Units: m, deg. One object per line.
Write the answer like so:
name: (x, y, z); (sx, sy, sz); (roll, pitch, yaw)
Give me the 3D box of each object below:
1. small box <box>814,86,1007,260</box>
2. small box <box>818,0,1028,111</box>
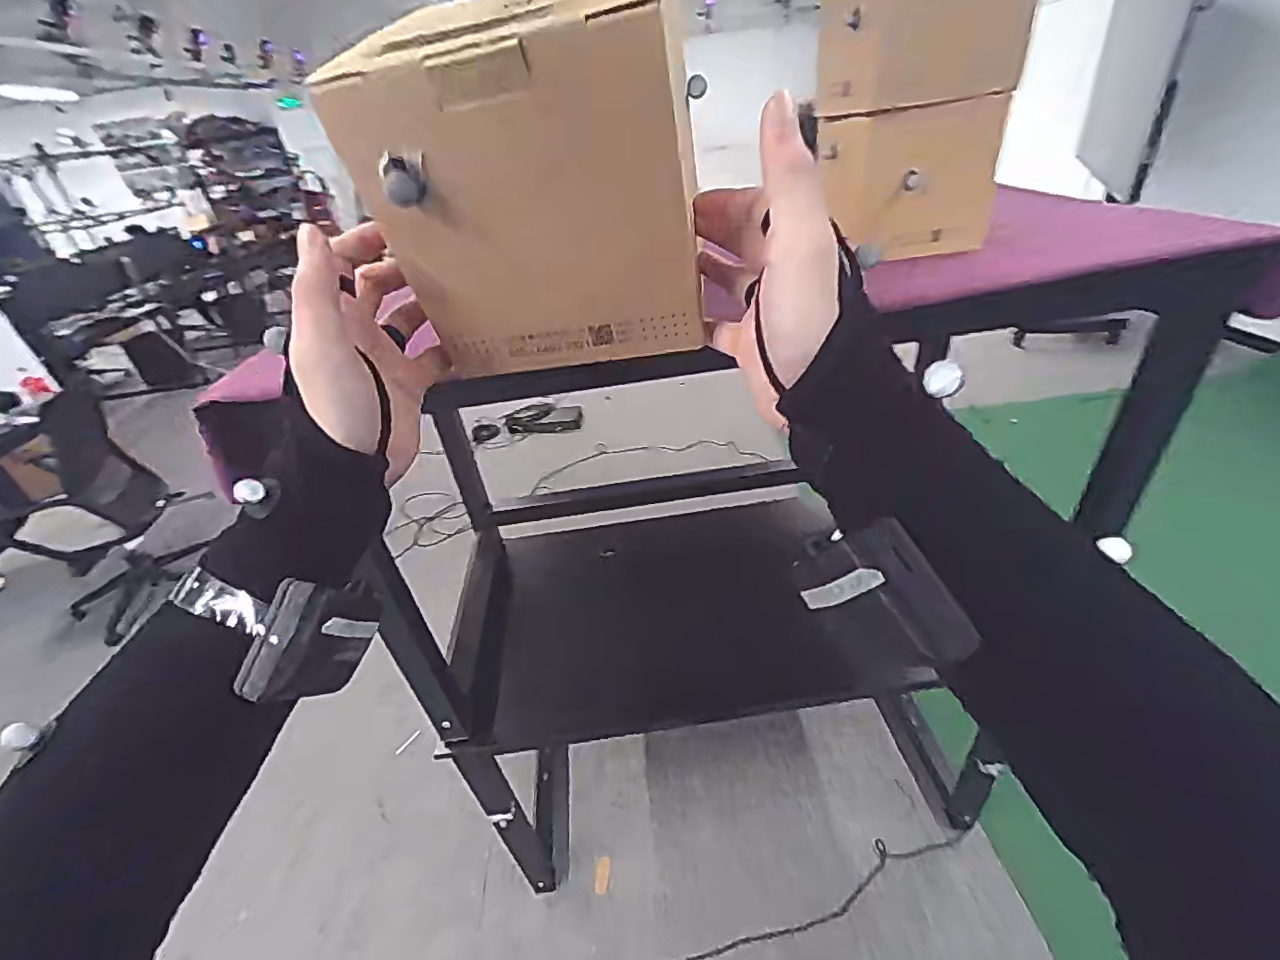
small box: (0.335, -0.397, 0.711); (0.168, 0.176, 0.179); (-7, 33, 3)
small box: (0.312, -0.527, 0.614); (0.179, 0.176, 0.168); (-9, 34, 0)
